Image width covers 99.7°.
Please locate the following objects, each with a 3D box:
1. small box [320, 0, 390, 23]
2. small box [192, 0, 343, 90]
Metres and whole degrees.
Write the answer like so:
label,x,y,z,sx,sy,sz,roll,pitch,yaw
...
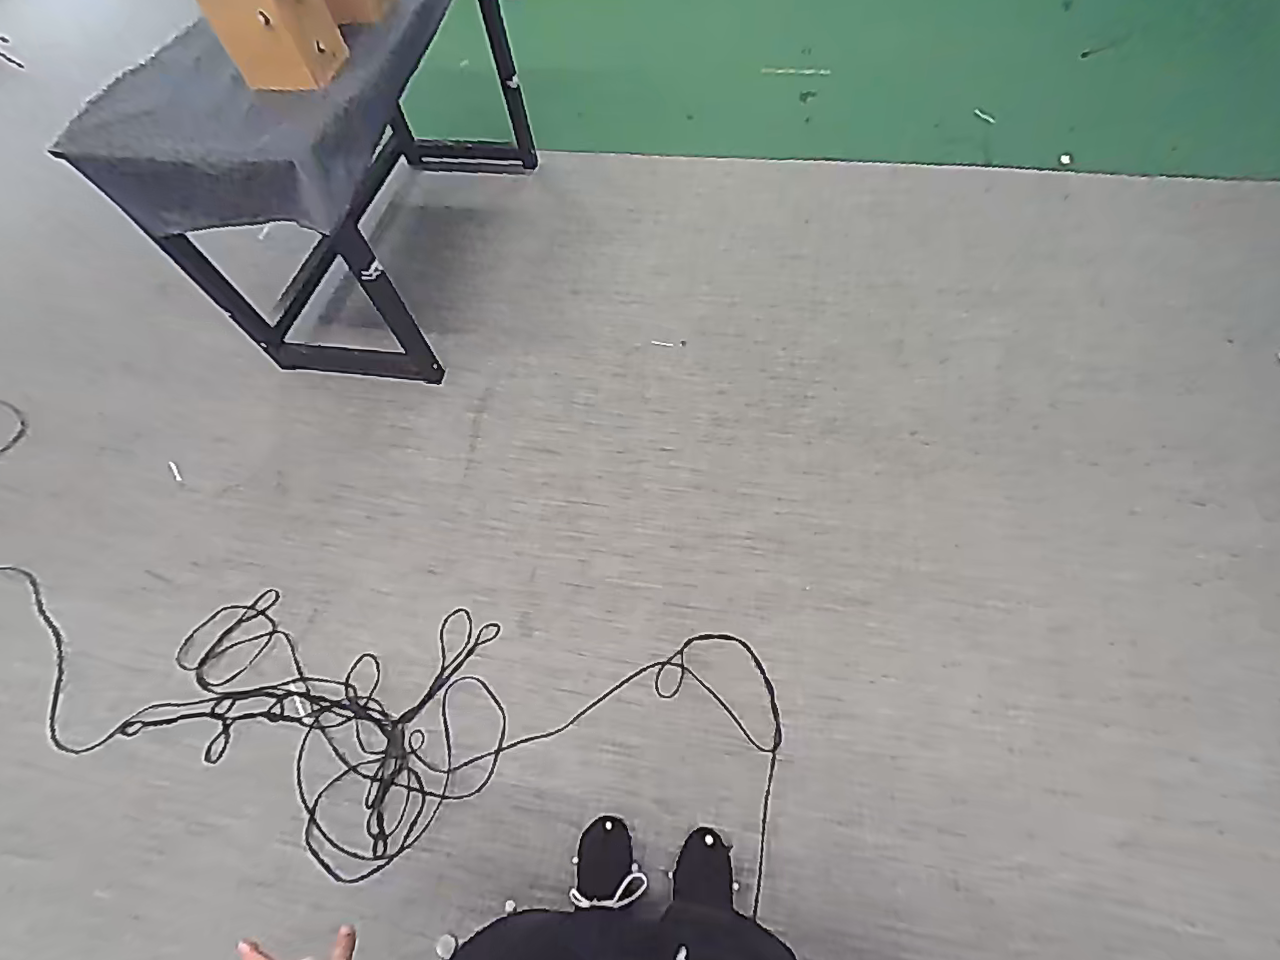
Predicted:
label,x,y,z,sx,sy,sz,roll,pitch,yaw
small box,-0.736,-1.239,1.304,0.179,0.176,0.168,6,63,8
small box,-0.792,-0.977,1.170,0.179,0.176,0.168,4,62,7
